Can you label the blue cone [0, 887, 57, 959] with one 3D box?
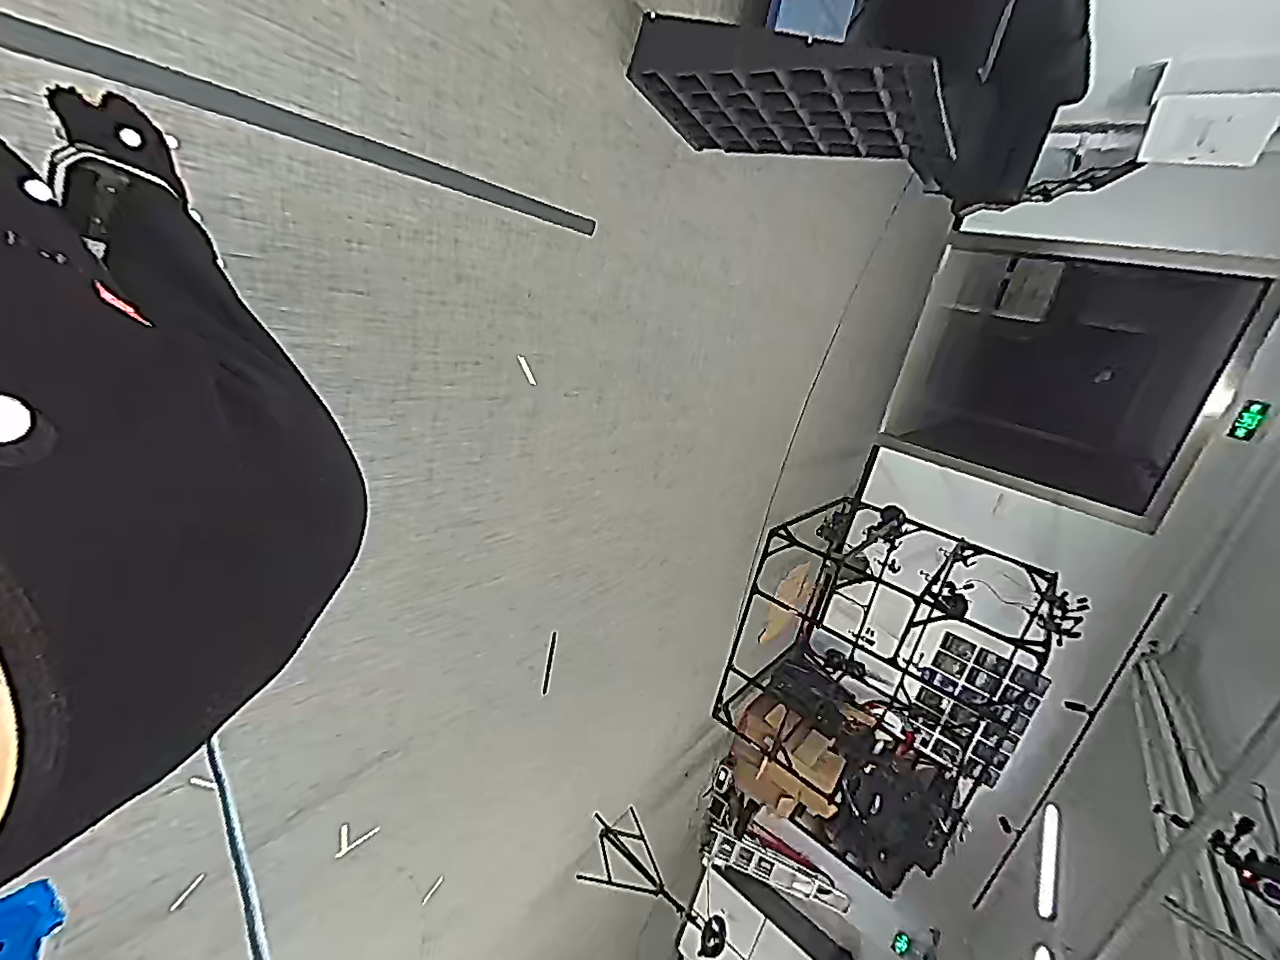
[{"bbox_3d":[-1.421,1.153,1.206,0.192,0.380,0.193,-17,125,-51],"label":"blue cone"}]
